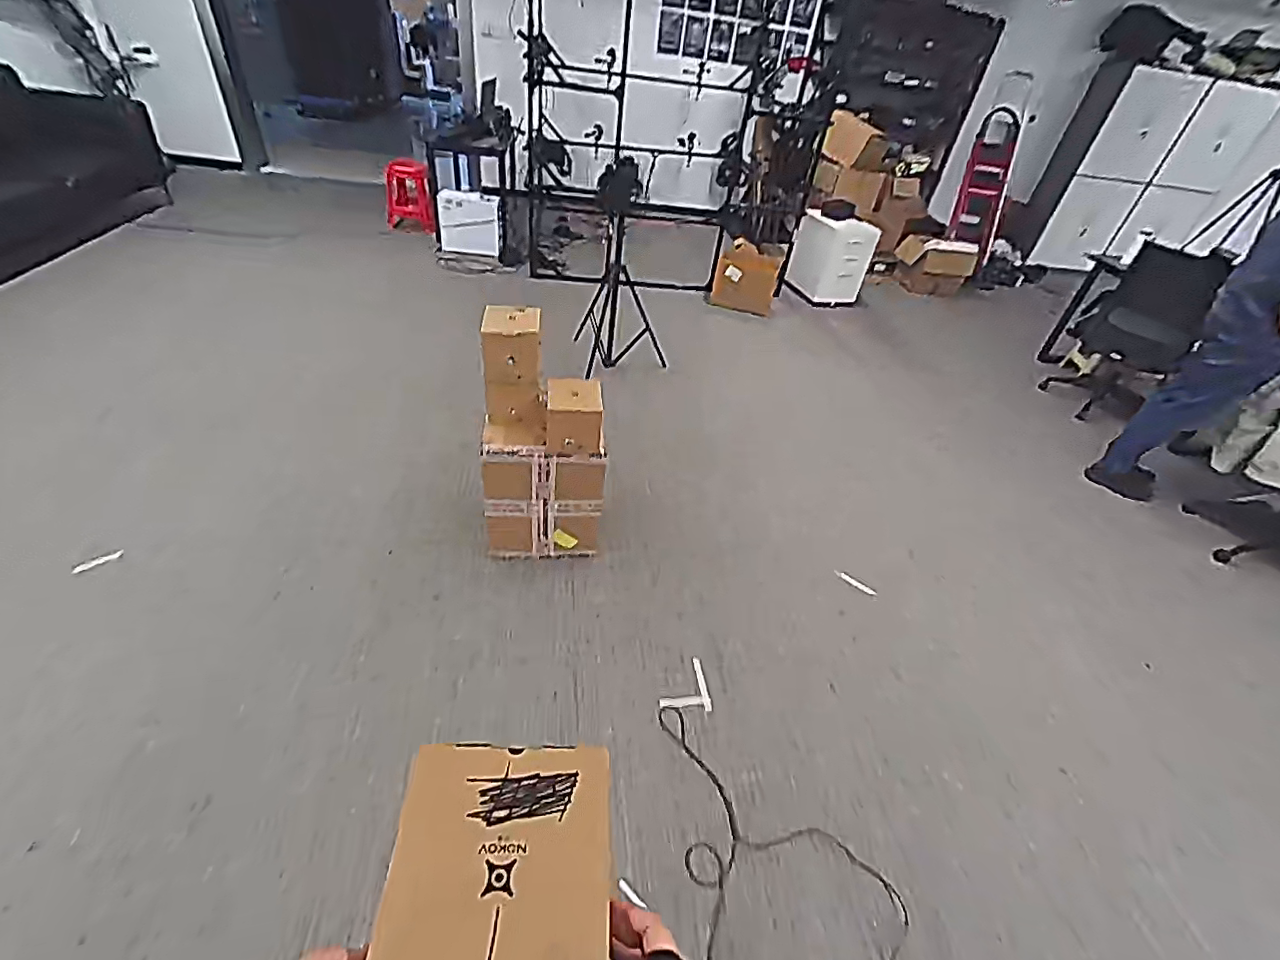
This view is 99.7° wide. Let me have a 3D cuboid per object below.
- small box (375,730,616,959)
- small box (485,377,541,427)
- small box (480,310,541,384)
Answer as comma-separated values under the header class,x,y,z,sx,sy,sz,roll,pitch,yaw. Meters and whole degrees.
class,x,y,z,sx,sy,sz,roll,pitch,yaw
small box,-0.112,0.344,0.474,0.168,0.176,0.179,4,43,-7
small box,-0.416,-0.292,1.785,0.168,0.176,0.179,-2,42,-9
small box,-0.395,-0.410,1.672,0.168,0.176,0.179,-1,42,-8
